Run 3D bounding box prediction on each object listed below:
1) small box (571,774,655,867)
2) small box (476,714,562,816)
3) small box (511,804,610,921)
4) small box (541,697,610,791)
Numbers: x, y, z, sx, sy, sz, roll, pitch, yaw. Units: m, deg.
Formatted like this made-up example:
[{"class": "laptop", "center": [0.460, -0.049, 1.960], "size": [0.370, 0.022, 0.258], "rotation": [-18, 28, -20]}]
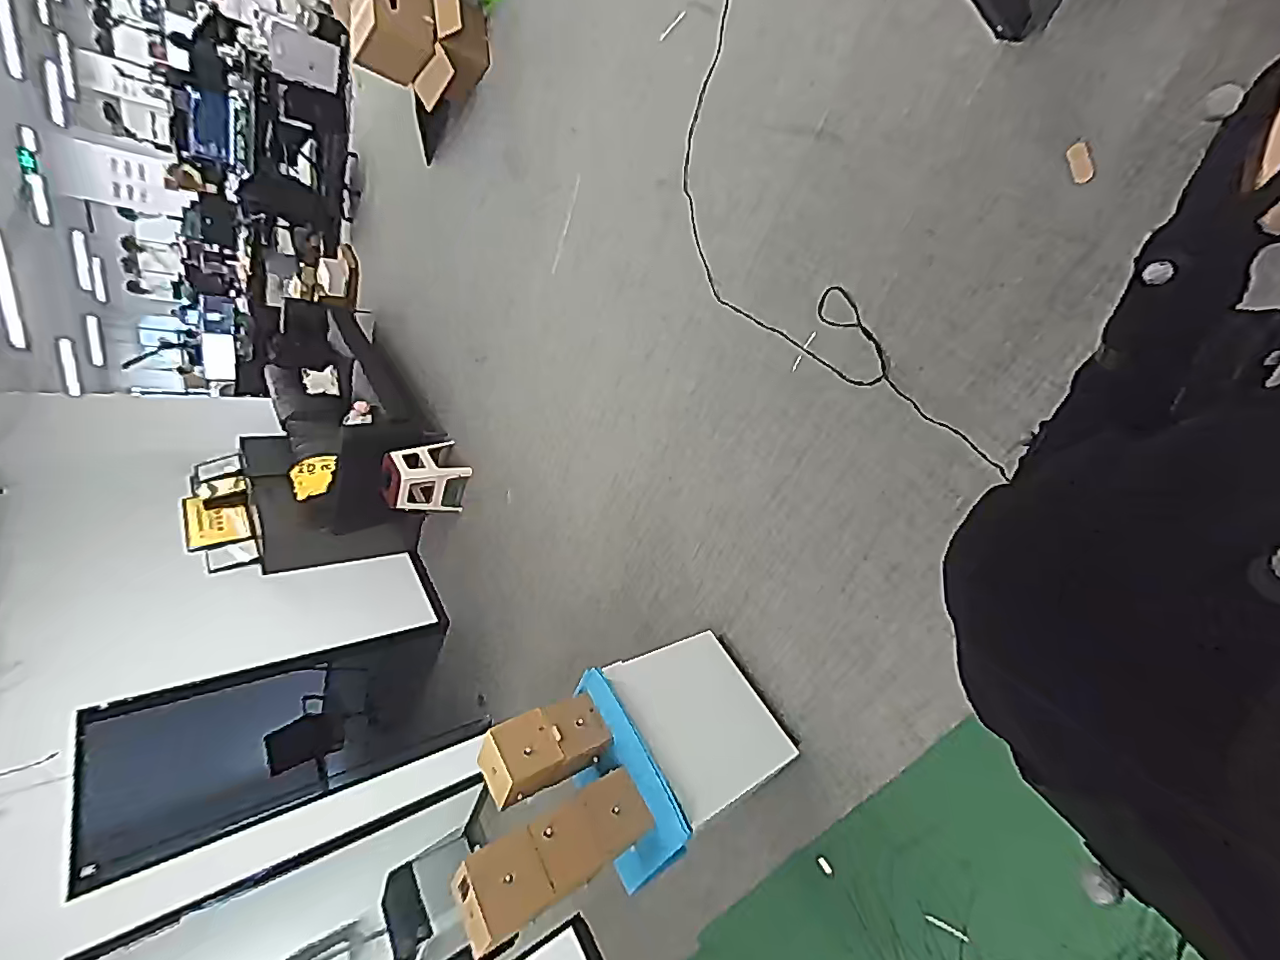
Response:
[{"class": "small box", "center": [-0.090, 0.964, 1.522], "size": [0.179, 0.176, 0.168], "rotation": [49, 129, 33]}, {"class": "small box", "center": [-0.342, 0.805, 1.543], "size": [0.168, 0.176, 0.179], "rotation": [47, 129, 34]}, {"class": "small box", "center": [-0.208, 0.983, 1.409], "size": [0.179, 0.176, 0.168], "rotation": [49, 129, 33]}, {"class": "small box", "center": [-0.215, 0.794, 1.644], "size": [0.168, 0.176, 0.179], "rotation": [50, 129, 33]}]
